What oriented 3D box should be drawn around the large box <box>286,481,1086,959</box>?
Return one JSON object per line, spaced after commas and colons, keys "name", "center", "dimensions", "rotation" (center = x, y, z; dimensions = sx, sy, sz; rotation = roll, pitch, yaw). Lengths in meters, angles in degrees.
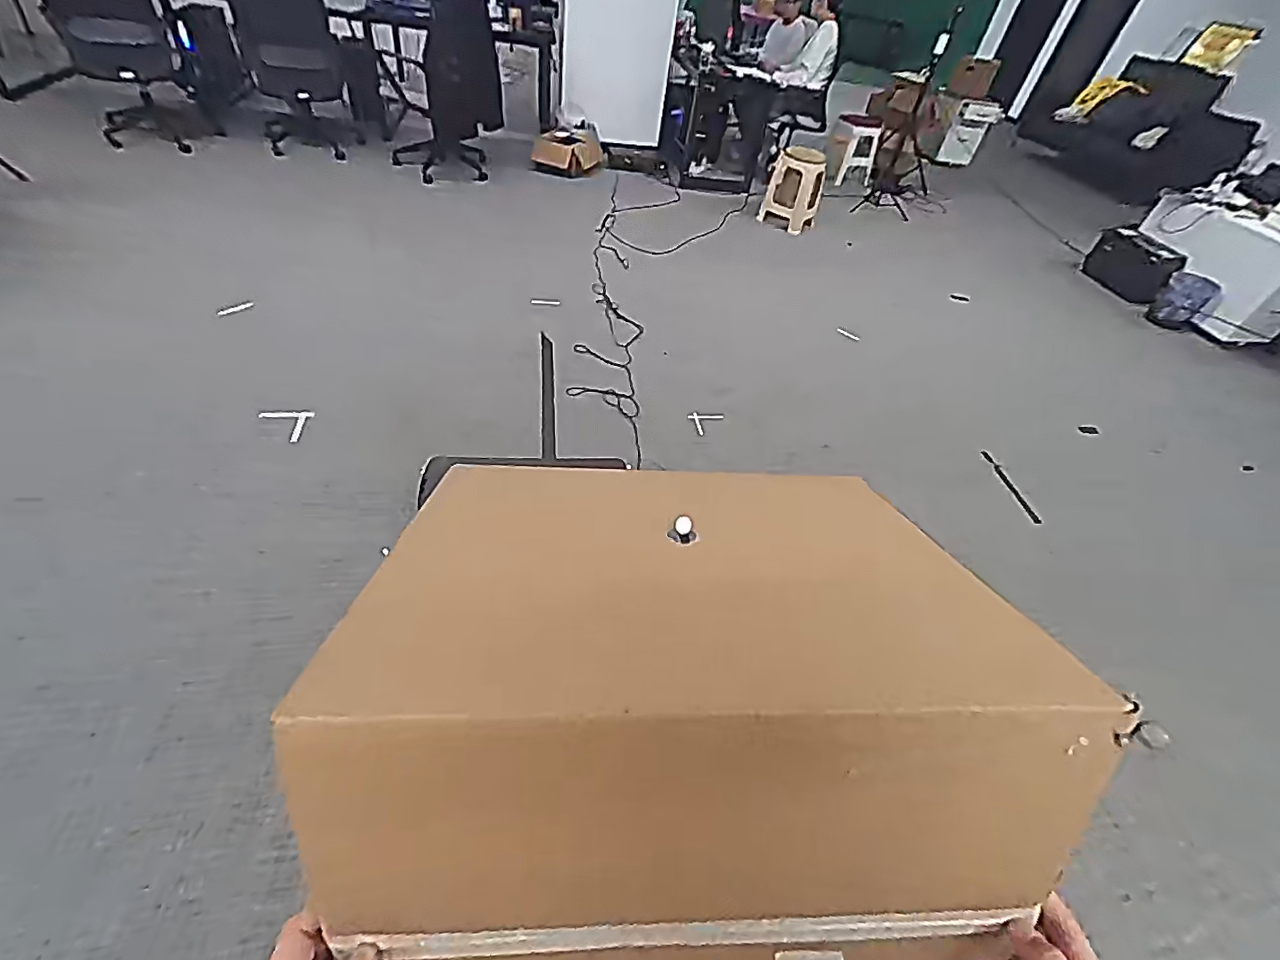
{"name": "large box", "center": [0.017, 0.195, 0.454], "dimensions": [0.408, 0.320, 0.320], "rotation": [0, 23, -5]}
